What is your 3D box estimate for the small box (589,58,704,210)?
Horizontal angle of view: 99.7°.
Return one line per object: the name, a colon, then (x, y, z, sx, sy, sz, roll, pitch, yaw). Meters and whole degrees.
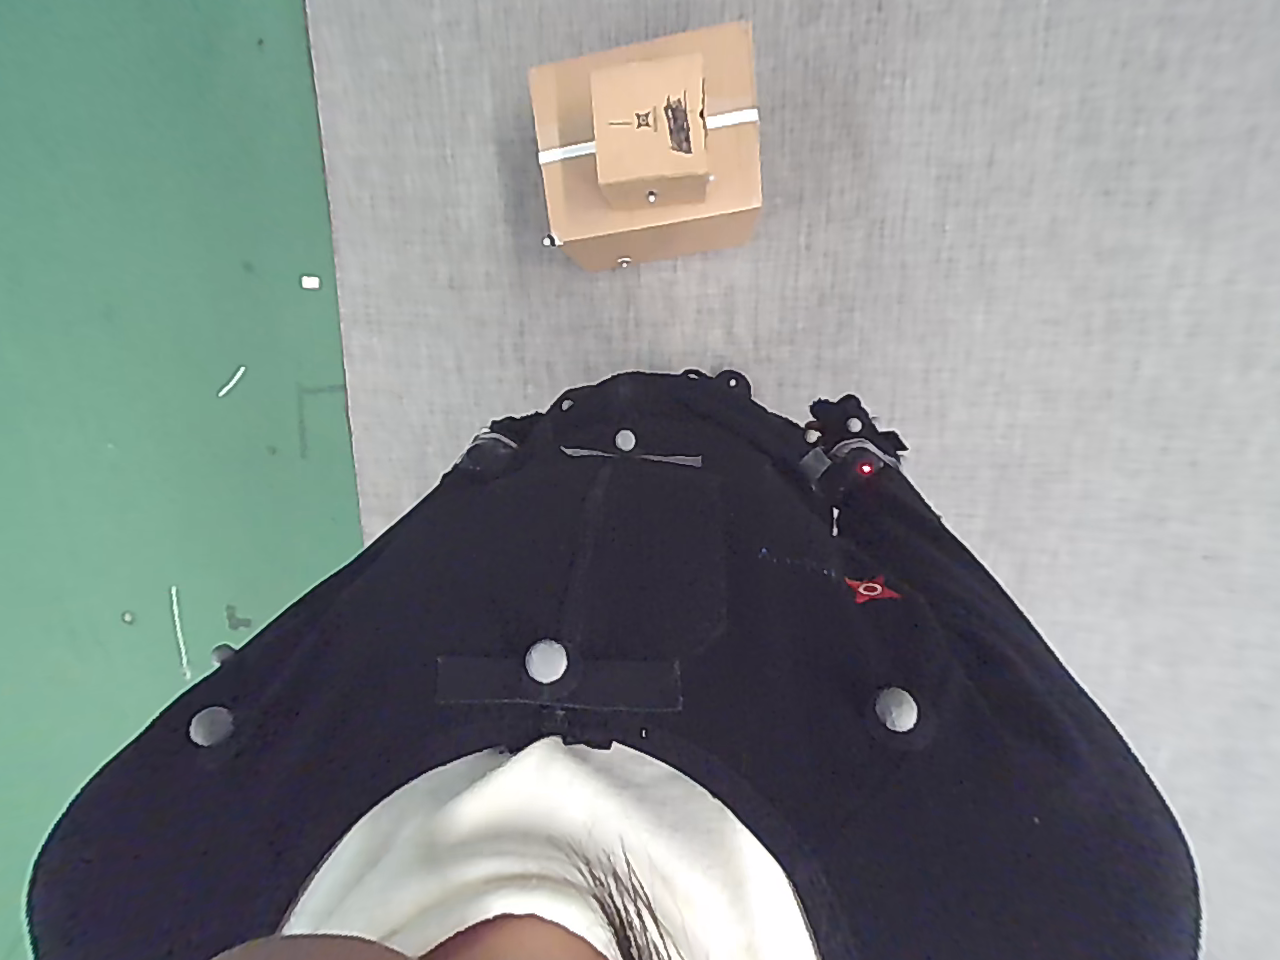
small box: (0.019, -0.578, 0.926, 0.179, 0.176, 0.168, -2, 102, 8)
